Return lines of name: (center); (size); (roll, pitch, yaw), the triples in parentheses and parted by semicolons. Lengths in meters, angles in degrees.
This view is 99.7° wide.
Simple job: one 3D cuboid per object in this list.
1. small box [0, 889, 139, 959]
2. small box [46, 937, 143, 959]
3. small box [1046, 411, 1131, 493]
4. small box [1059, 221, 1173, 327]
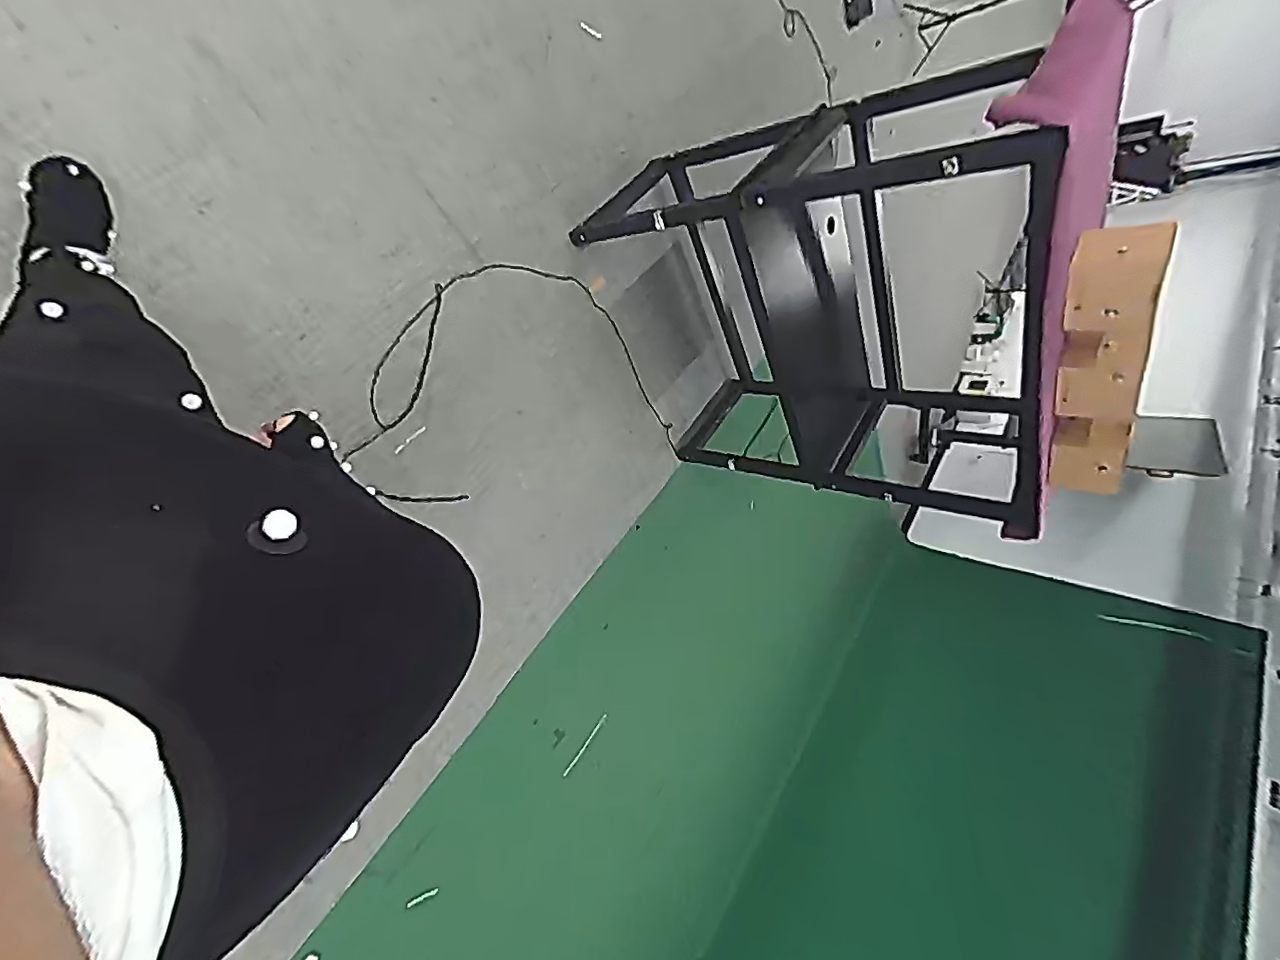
small box: (-1.255, 1.041, 1.172); (0.179, 0.176, 0.168); (-49, 131, -27)
small box: (-1.130, 1.057, 1.066); (0.168, 0.176, 0.179); (-50, 131, -27)
small box: (1.307, -0.087, 1.583); (0.168, 0.176, 0.179); (-52, 133, -27)
small box: (1.089, -0.466, 1.245); (0.179, 0.176, 0.168); (-51, 133, -28)
